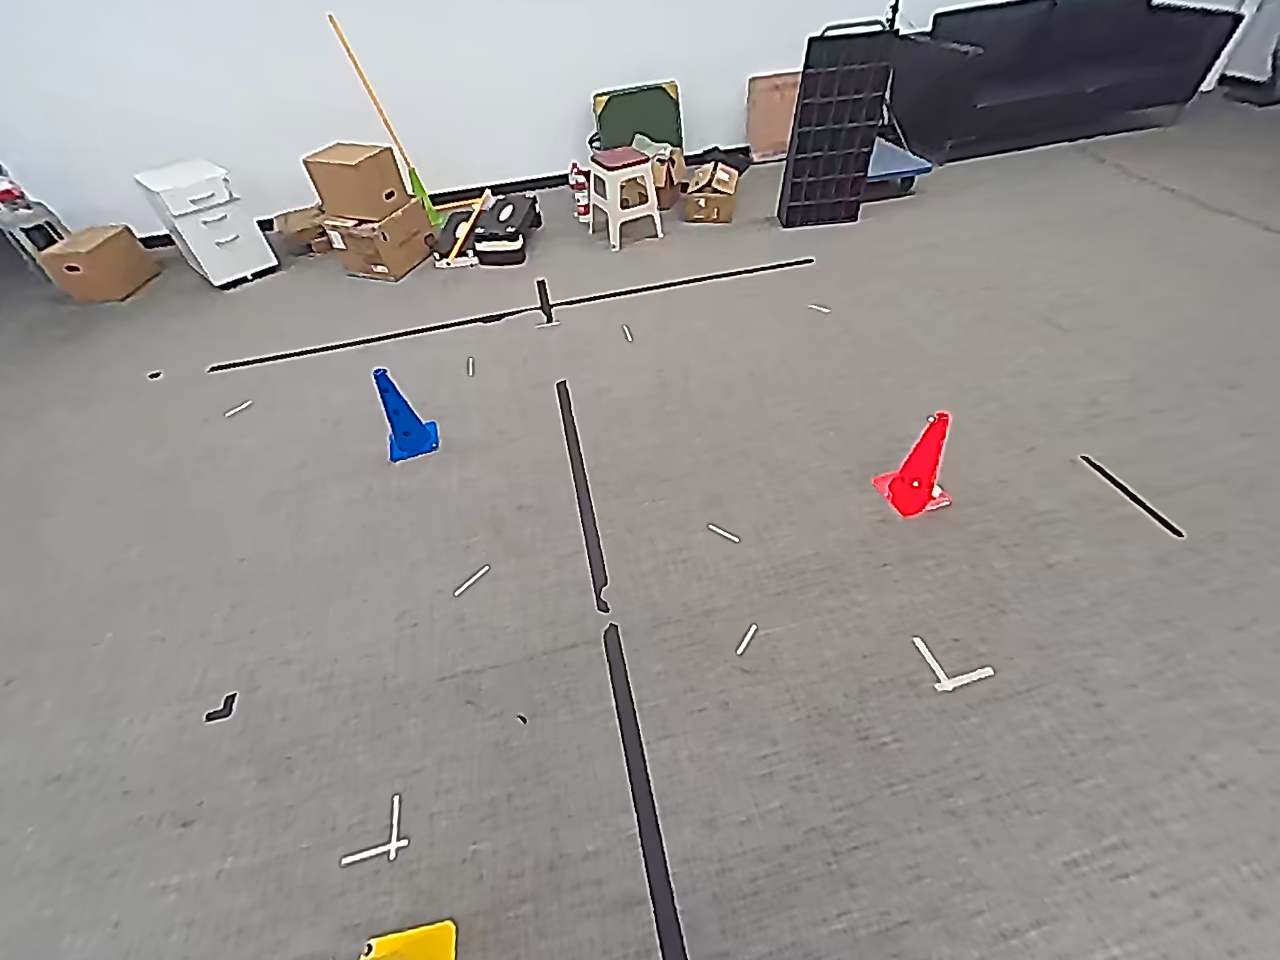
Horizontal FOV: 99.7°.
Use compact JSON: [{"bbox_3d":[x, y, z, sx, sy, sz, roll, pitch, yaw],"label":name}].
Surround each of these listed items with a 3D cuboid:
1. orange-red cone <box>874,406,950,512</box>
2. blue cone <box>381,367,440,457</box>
[{"bbox_3d":[0.952,-0.094,1.799,0.198,0.360,0.199,-15,45,-10],"label":"orange-red cone"},{"bbox_3d":[-0.960,-0.287,2.174,0.192,0.380,0.193,-16,47,-10],"label":"blue cone"}]
